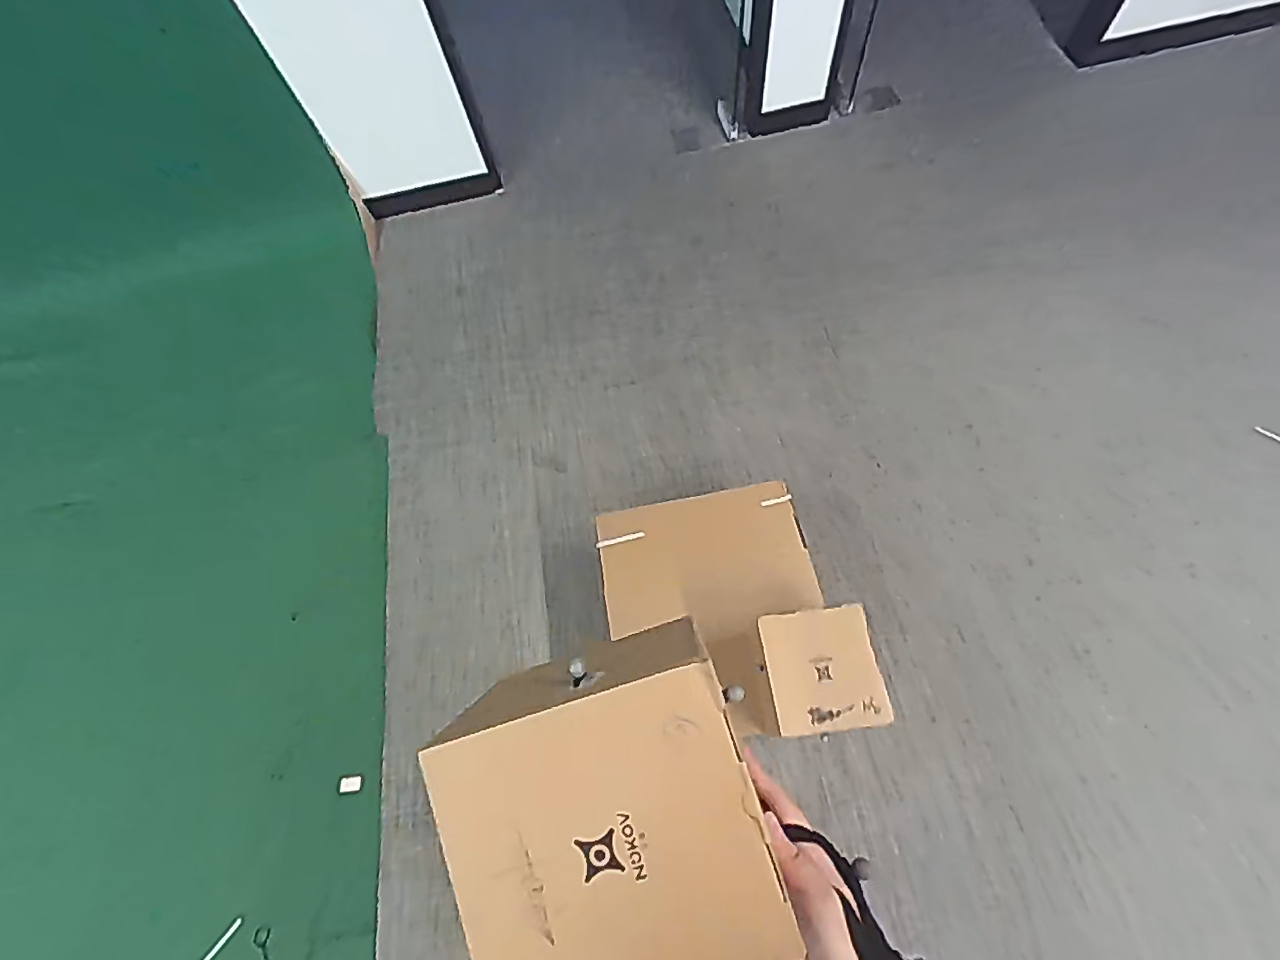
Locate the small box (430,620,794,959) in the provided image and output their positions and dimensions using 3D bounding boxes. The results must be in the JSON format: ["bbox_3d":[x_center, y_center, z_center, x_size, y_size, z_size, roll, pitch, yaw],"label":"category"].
[{"bbox_3d":[-0.016,0.209,0.385,0.179,0.176,0.168,-17,82,1],"label":"small box"}]

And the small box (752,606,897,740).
[{"bbox_3d":[0.282,0.317,0.876,0.168,0.176,0.179,-8,64,2],"label":"small box"}]
